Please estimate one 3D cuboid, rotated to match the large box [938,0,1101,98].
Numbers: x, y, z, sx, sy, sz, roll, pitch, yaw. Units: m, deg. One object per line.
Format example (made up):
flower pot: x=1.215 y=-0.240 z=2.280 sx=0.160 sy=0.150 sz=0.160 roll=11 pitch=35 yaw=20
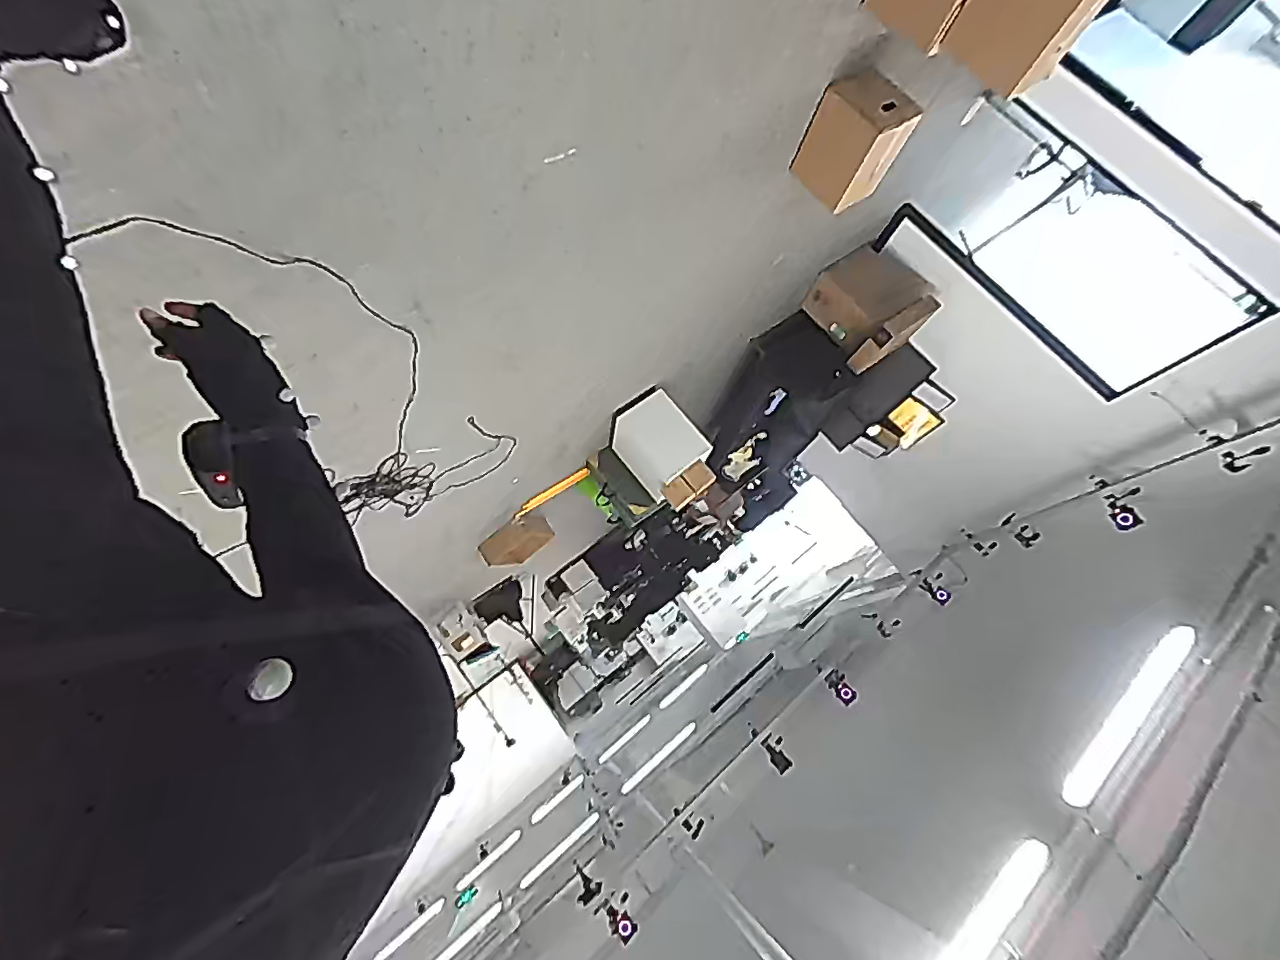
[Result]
large box: x=1.259 y=-1.545 z=1.708 sx=0.320 sy=0.320 sz=0.408 roll=-38 pitch=169 yaw=-22
